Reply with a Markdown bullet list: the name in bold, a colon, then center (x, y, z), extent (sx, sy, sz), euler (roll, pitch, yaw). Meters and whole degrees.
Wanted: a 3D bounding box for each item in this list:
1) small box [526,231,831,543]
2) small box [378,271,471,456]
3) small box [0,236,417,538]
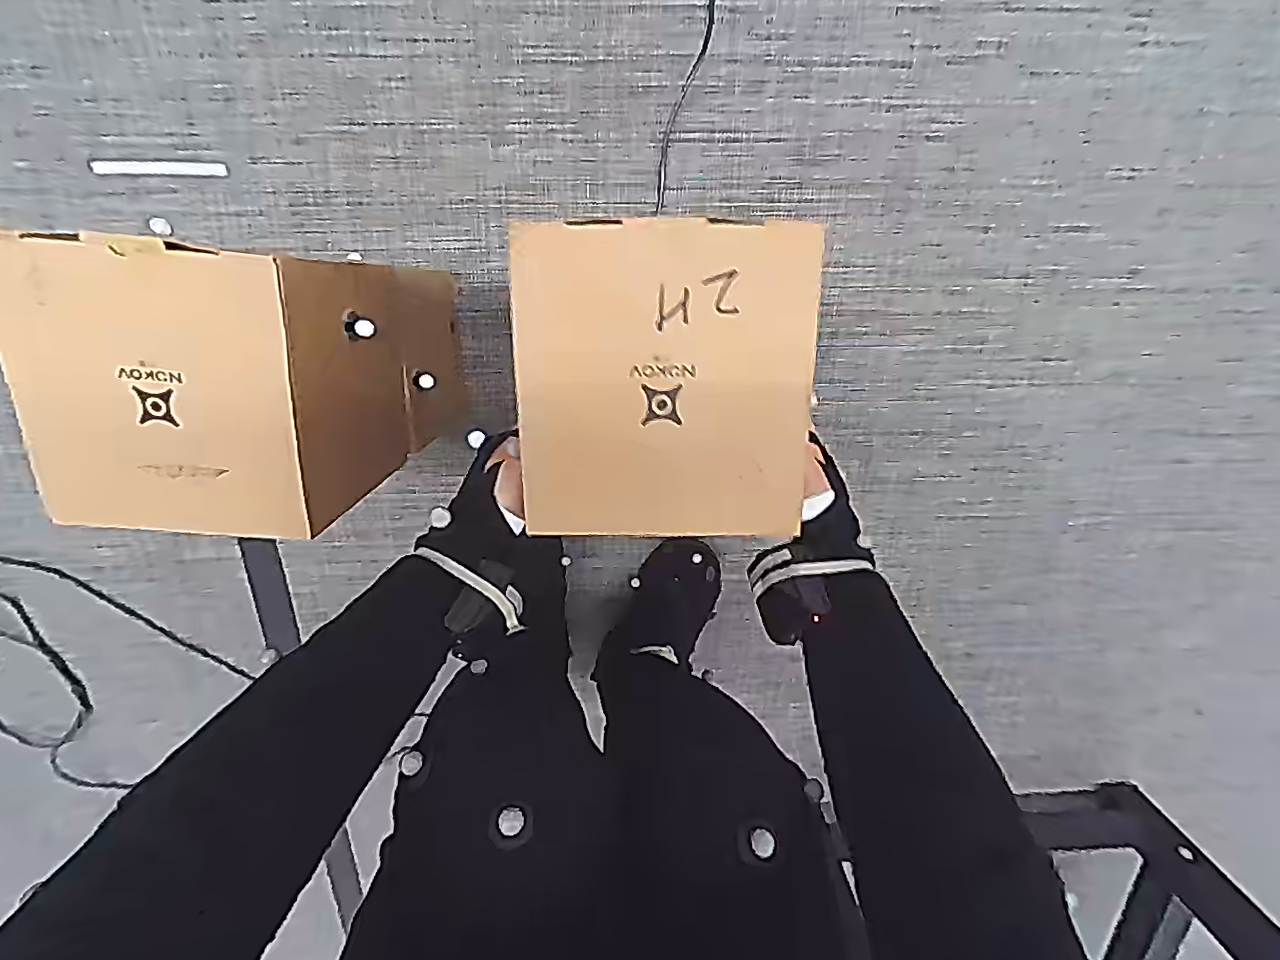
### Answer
- **small box**: center (0.020, -0.068, 0.386), extent (0.168, 0.176, 0.179), euler (1, 104, 0)
- **small box**: center (-0.290, -0.126, 0.559), extent (0.179, 0.176, 0.168), euler (-1, 109, -2)
- **small box**: center (-0.282, -0.074, 0.403), extent (0.168, 0.176, 0.179), euler (4, 110, -2)
